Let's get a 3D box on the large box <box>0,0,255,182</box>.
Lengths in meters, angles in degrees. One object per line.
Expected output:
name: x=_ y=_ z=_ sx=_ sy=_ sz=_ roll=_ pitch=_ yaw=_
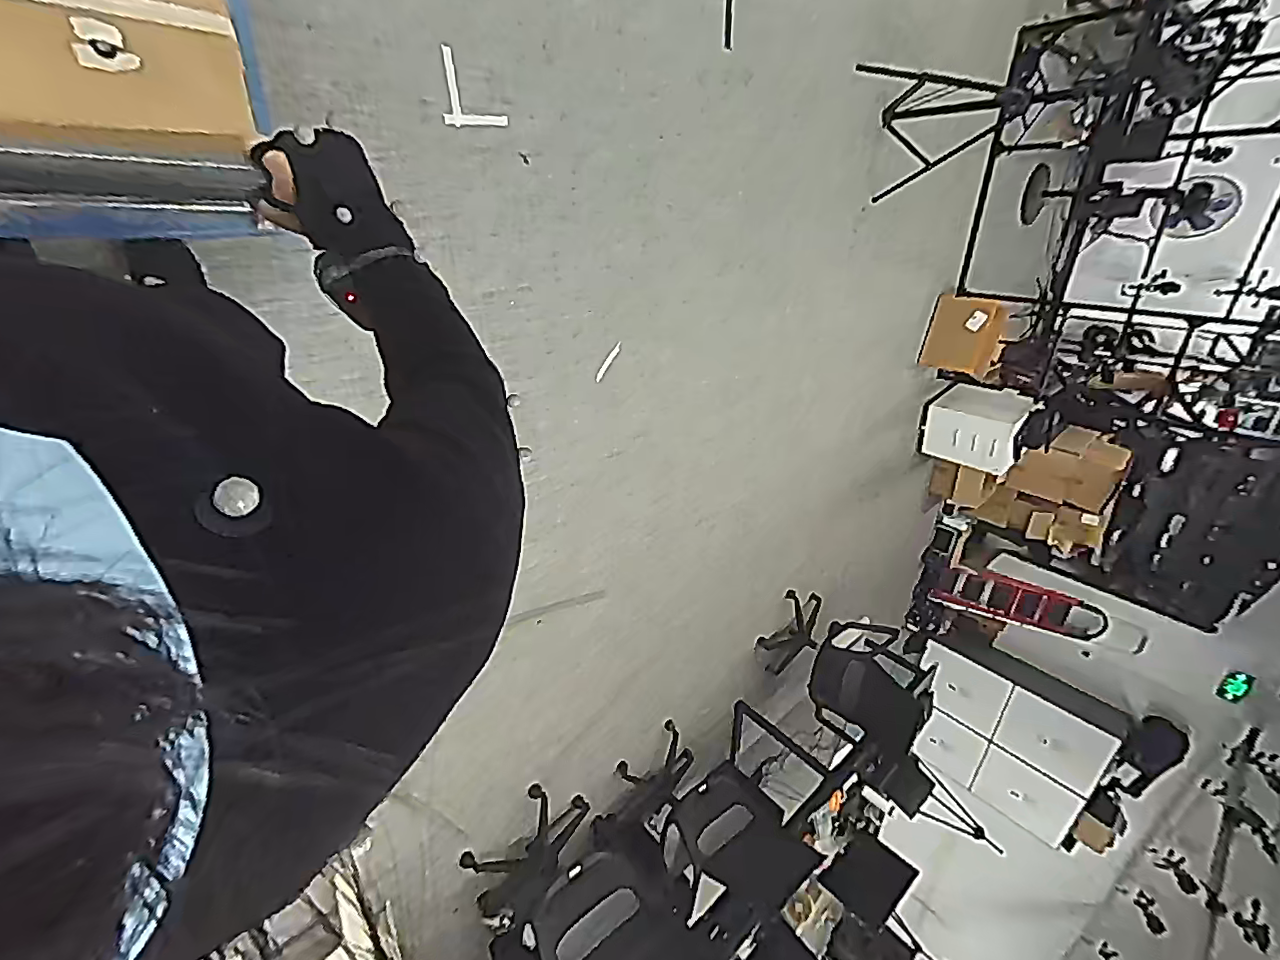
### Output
large box: x=-0.788 y=-0.564 z=0.676 sx=0.408 sy=0.320 sz=0.320 roll=-21 pitch=123 yaw=-38
